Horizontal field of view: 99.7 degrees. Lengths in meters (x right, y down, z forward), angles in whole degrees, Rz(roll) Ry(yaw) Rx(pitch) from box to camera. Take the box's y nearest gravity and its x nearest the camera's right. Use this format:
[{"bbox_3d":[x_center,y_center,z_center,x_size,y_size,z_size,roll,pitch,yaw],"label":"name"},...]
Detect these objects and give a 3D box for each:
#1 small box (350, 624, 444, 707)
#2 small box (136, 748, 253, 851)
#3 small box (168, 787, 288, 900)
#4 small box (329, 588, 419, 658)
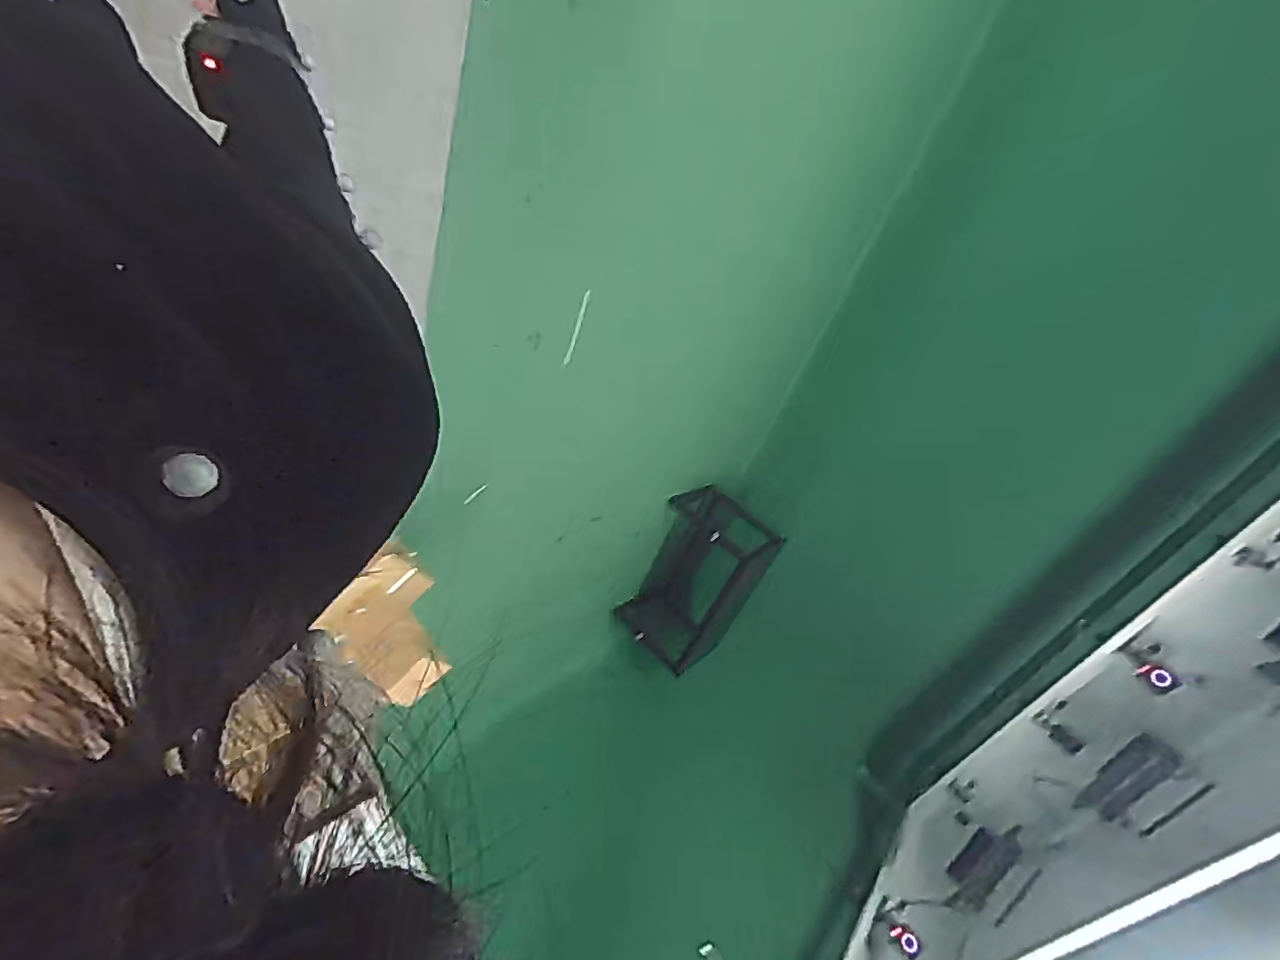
[{"bbox_3d":[-0.753,0.573,1.678,0.168,0.176,0.179,-44,153,-15],"label":"small box"},{"bbox_3d":[-1.208,0.870,1.474,0.179,0.176,0.168,-39,151,-23],"label":"small box"},{"bbox_3d":[-1.076,0.945,1.407,0.179,0.176,0.168,-39,152,-25],"label":"small box"},{"bbox_3d":[-0.862,0.480,1.755,0.168,0.176,0.179,-42,153,-17],"label":"small box"}]
